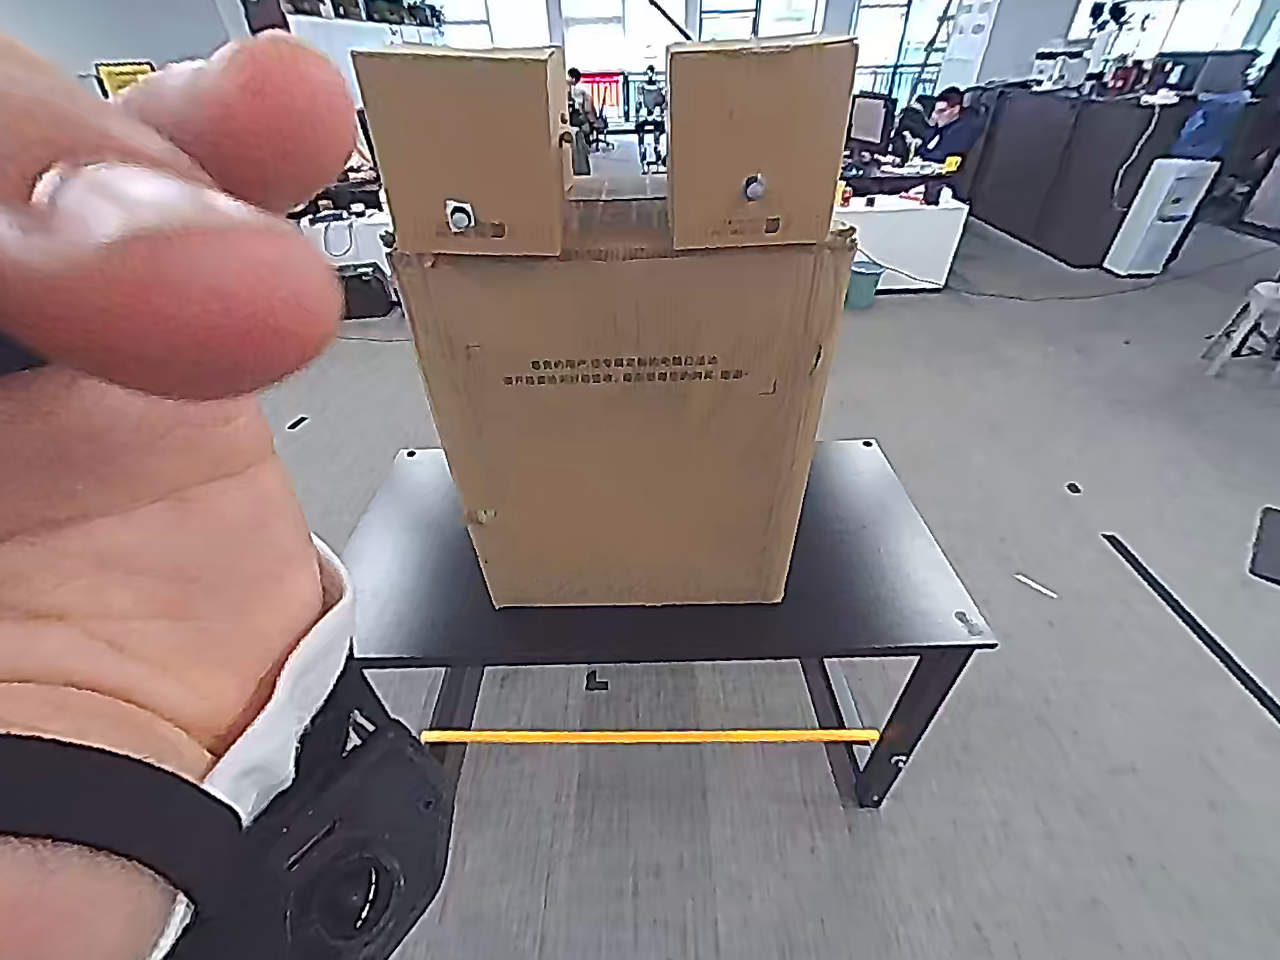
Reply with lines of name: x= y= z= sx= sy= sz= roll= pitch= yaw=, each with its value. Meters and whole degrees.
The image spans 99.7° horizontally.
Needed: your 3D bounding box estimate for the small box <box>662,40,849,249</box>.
small box: x=0.107 y=-0.365 z=0.590 sx=0.168 sy=0.176 sz=0.179 roll=-3 pitch=41 yaw=3
